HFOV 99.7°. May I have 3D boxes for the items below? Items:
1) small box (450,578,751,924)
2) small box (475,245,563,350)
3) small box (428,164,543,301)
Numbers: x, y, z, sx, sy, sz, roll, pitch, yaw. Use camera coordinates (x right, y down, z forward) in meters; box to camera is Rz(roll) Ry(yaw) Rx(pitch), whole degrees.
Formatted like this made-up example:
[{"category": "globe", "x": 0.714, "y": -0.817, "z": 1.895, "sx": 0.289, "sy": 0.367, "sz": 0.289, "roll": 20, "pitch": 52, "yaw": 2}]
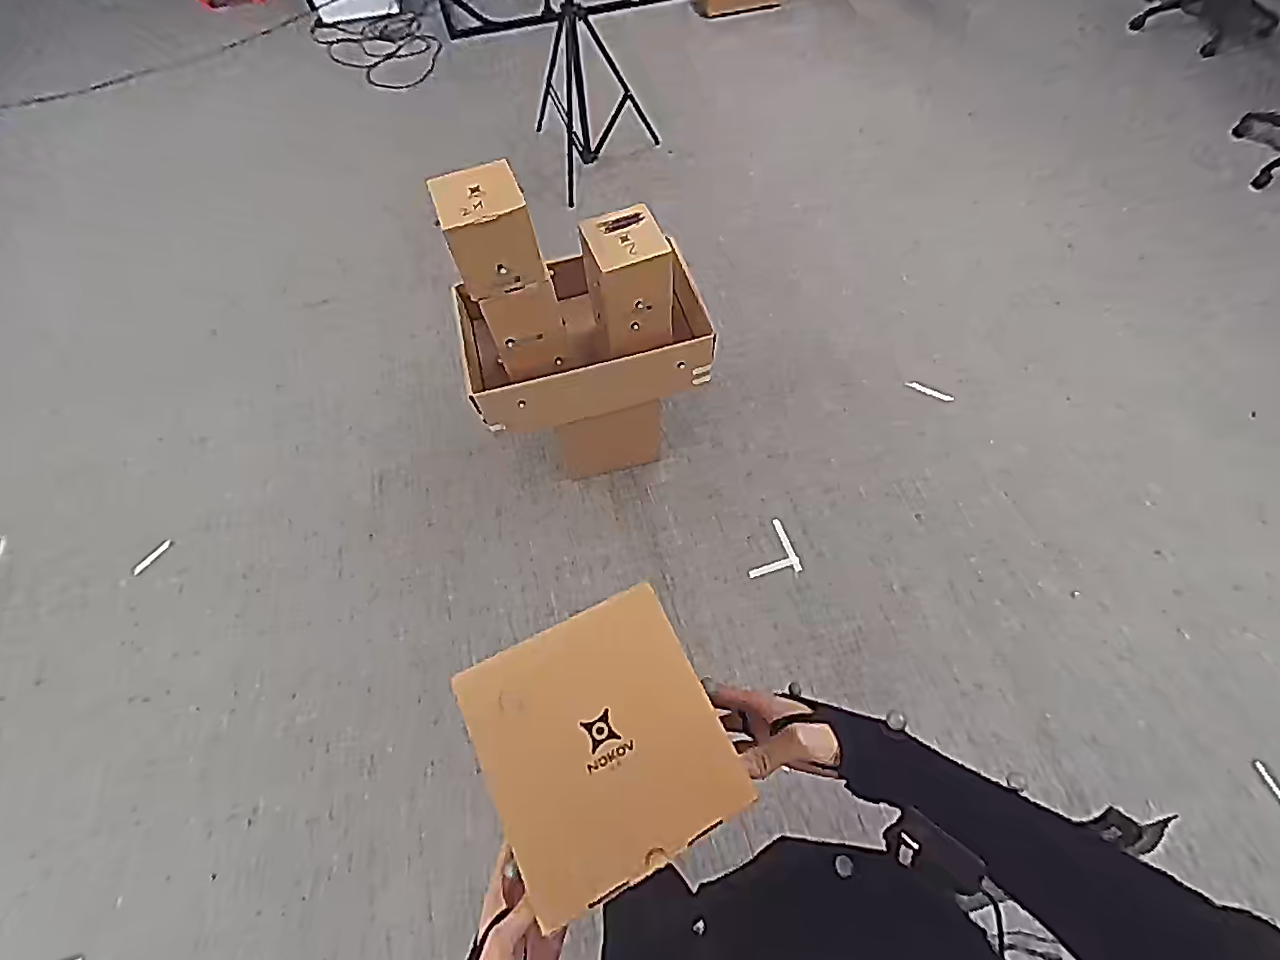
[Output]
[{"category": "small box", "x": -0.038, "y": 0.211, "z": 0.459, "sx": 0.168, "sy": 0.176, "sz": 0.179, "roll": -24, "pitch": 72, "yaw": -14}, {"category": "small box", "x": -0.288, "y": -0.424, "z": 1.254, "sx": 0.168, "sy": 0.176, "sz": 0.179, "roll": -18, "pitch": 61, "yaw": -6}, {"category": "small box", "x": -0.312, "y": -0.504, "z": 1.111, "sx": 0.168, "sy": 0.176, "sz": 0.179, "roll": -20, "pitch": 62, "yaw": -7}]
